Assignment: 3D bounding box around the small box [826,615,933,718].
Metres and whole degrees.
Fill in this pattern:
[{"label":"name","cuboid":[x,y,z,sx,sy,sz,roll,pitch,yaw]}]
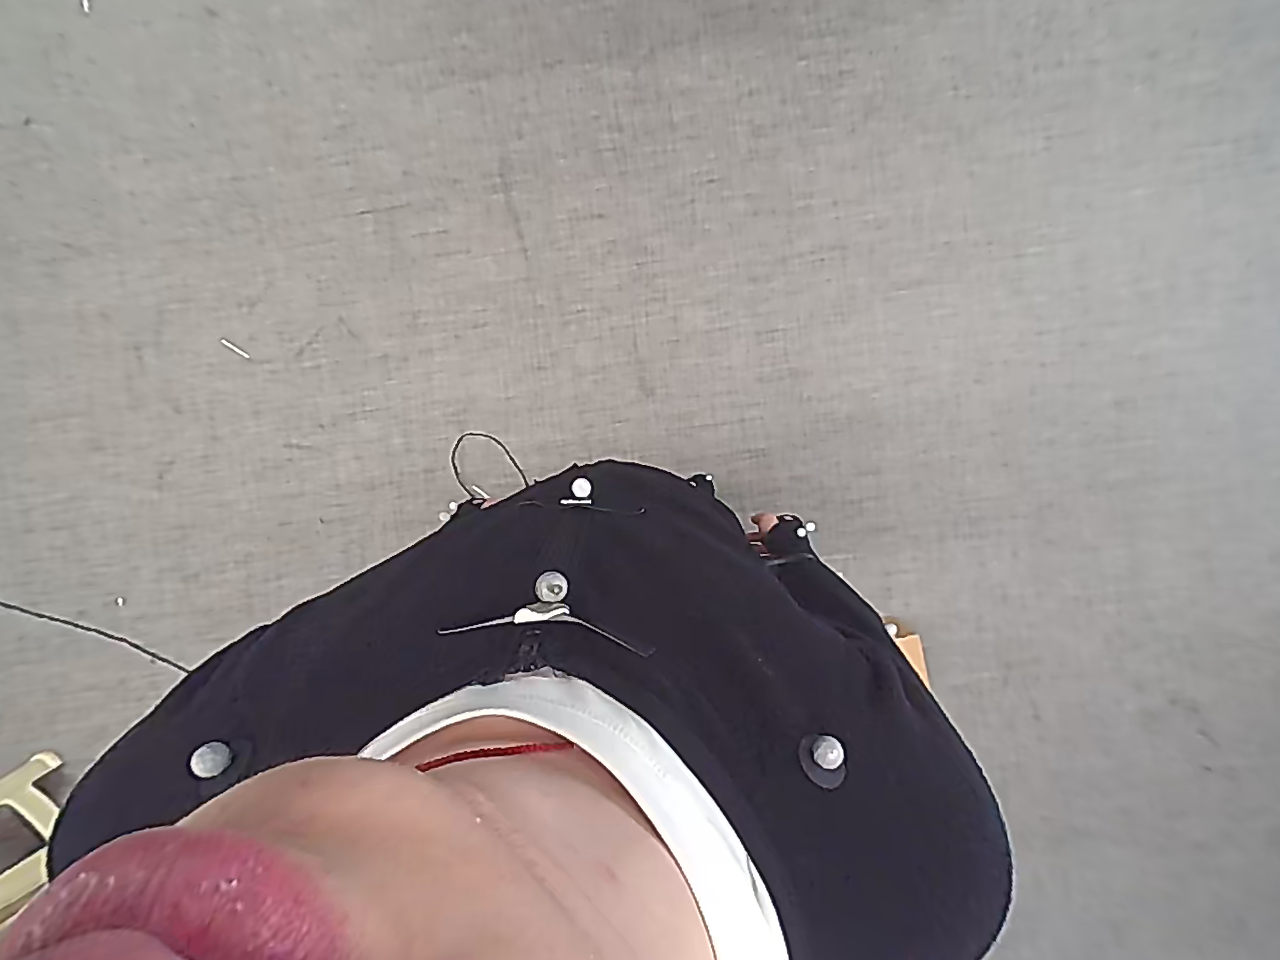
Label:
[{"label":"small box","cuboid":[0.642,0.498,1.474,0.179,0.176,0.168,-41,92,2]}]
